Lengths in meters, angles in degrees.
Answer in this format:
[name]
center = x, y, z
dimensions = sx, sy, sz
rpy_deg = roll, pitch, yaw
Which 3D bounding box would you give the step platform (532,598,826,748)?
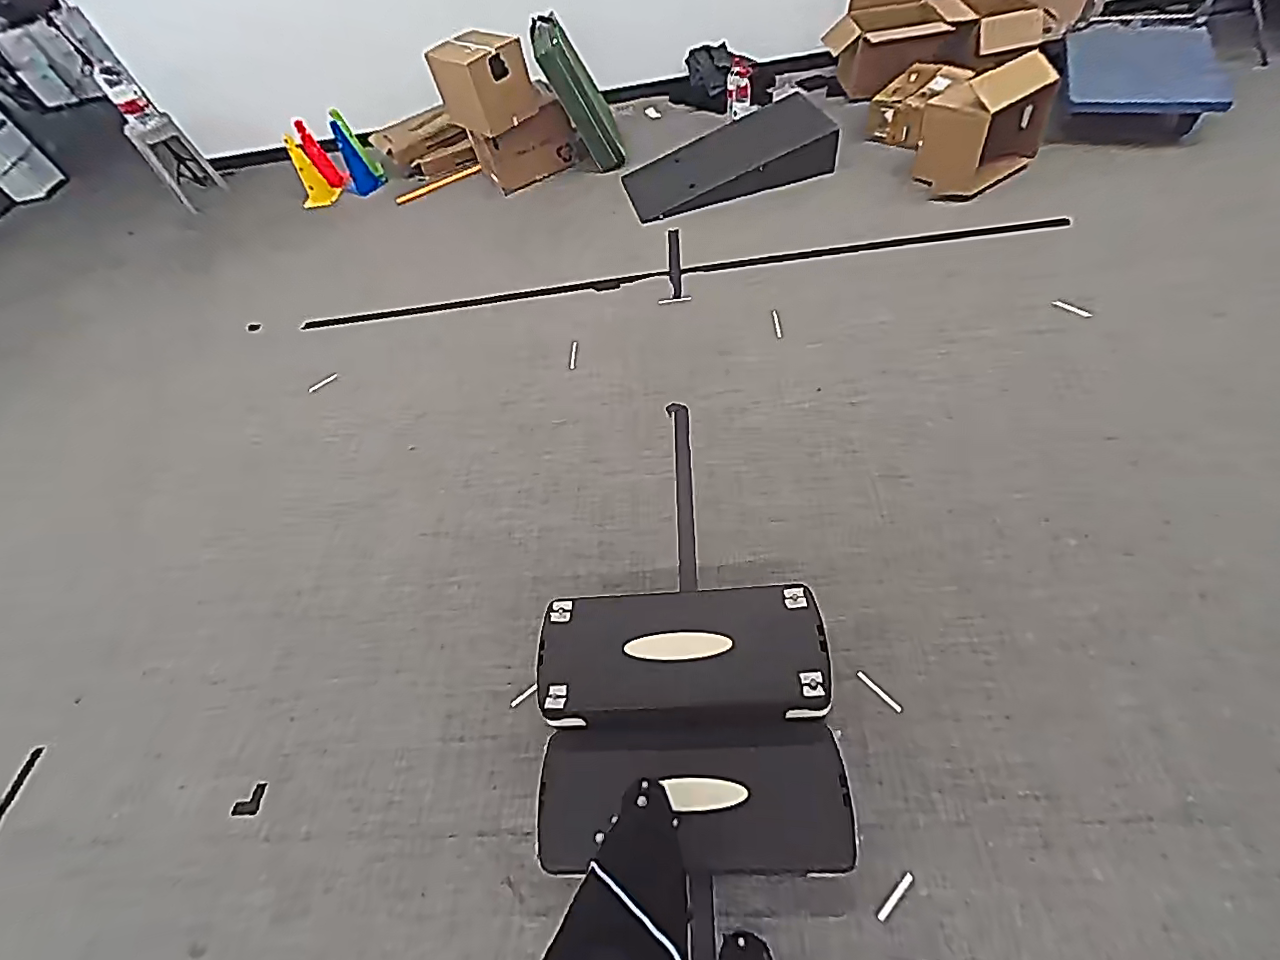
[step platform]
center = 0.087, 0.464, 1.303
dimensions = 0.684, 0.204, 0.286
rpy_deg = -5, 55, 5
